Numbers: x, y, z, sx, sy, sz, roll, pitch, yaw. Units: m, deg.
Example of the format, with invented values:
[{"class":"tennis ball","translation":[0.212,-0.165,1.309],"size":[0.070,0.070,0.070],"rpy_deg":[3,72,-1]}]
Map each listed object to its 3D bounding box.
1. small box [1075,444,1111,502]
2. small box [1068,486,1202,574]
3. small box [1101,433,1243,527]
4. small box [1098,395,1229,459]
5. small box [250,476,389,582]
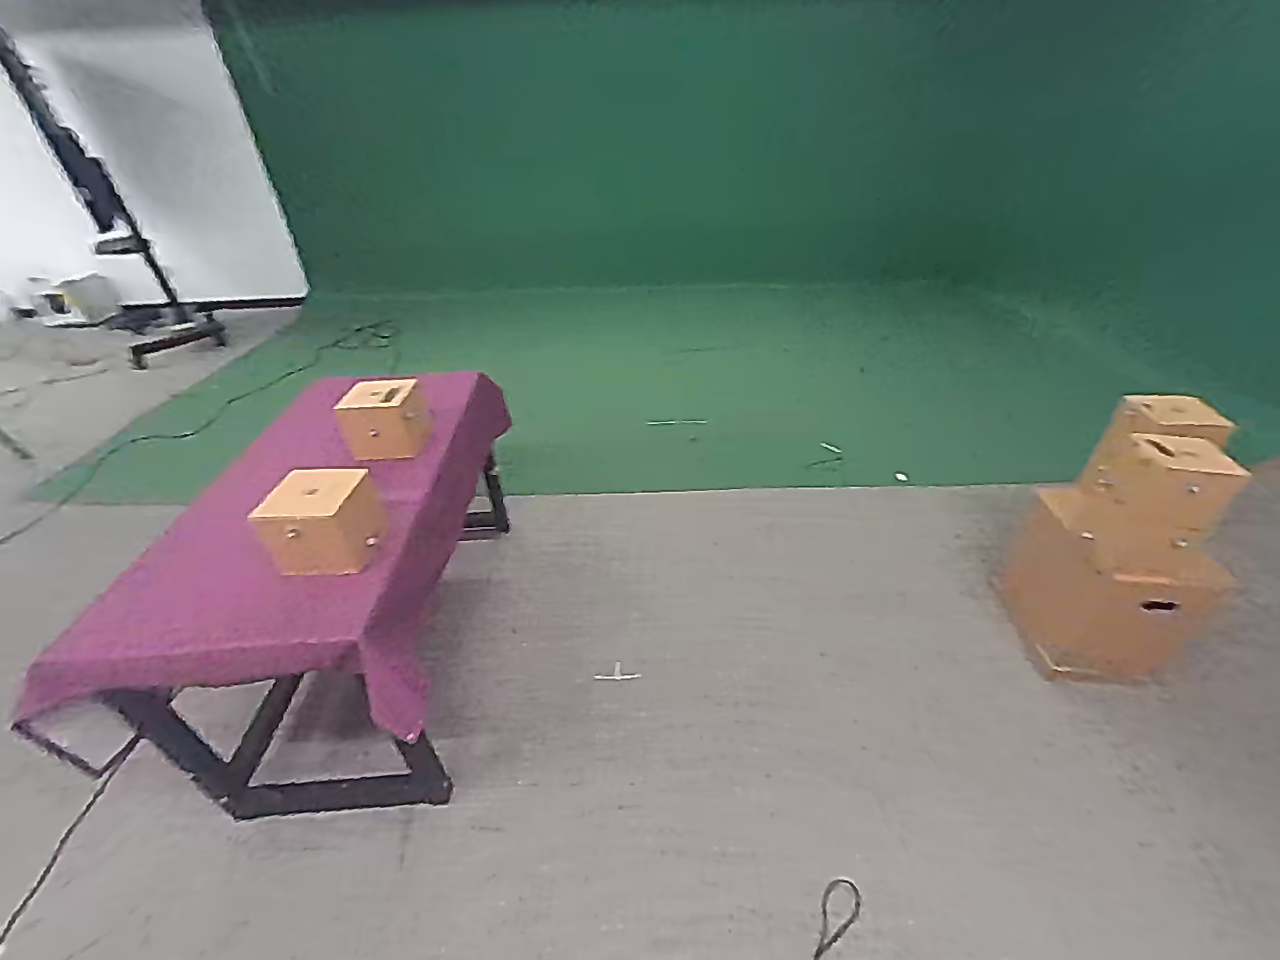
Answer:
[{"class":"small box","translation":[1.463,0.008,1.617],"size":[0.168,0.176,0.179],"rpy_deg":[1,36,5]},{"class":"small box","translation":[1.311,0.135,1.449],"size":[0.179,0.176,0.168],"rpy_deg":[3,35,6]},{"class":"small box","translation":[1.310,0.000,1.354],"size":[0.179,0.176,0.168],"rpy_deg":[6,36,9]},{"class":"small box","translation":[1.452,-0.124,1.517],"size":[0.179,0.176,0.168],"rpy_deg":[3,36,8]},{"class":"small box","translation":[-0.687,0.108,1.183],"size":[0.179,0.176,0.168],"rpy_deg":[-1,36,3]}]
